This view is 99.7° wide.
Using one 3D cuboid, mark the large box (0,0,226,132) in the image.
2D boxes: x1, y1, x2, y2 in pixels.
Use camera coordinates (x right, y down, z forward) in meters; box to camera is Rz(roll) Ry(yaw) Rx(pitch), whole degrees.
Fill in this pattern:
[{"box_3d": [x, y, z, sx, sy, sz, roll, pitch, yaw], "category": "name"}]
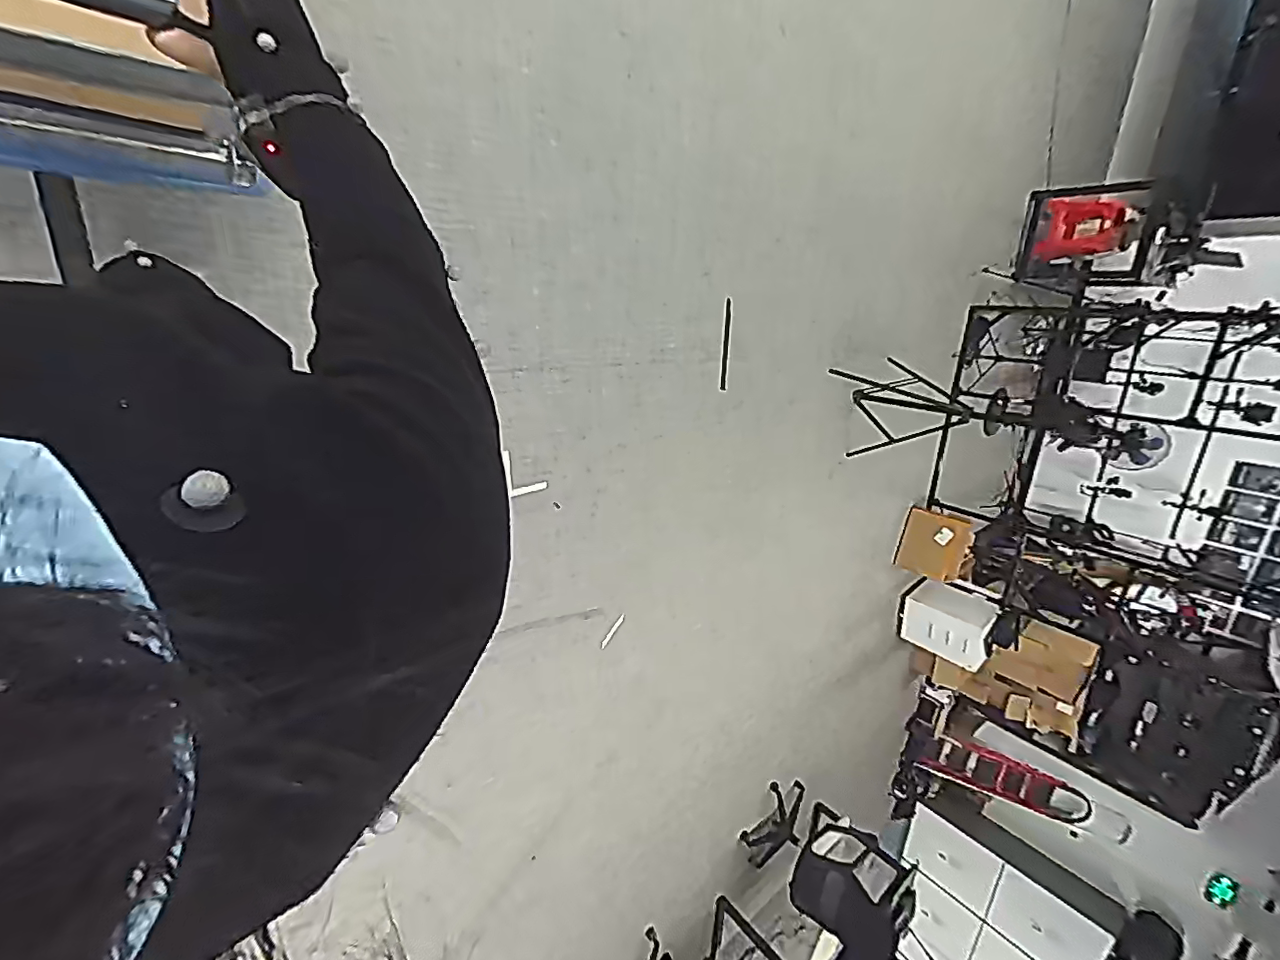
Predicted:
[{"box_3d": [-0.789, -0.668, 0.650, 0.408, 0.320, 0.320, -12, 114, -41], "category": "large box"}]
